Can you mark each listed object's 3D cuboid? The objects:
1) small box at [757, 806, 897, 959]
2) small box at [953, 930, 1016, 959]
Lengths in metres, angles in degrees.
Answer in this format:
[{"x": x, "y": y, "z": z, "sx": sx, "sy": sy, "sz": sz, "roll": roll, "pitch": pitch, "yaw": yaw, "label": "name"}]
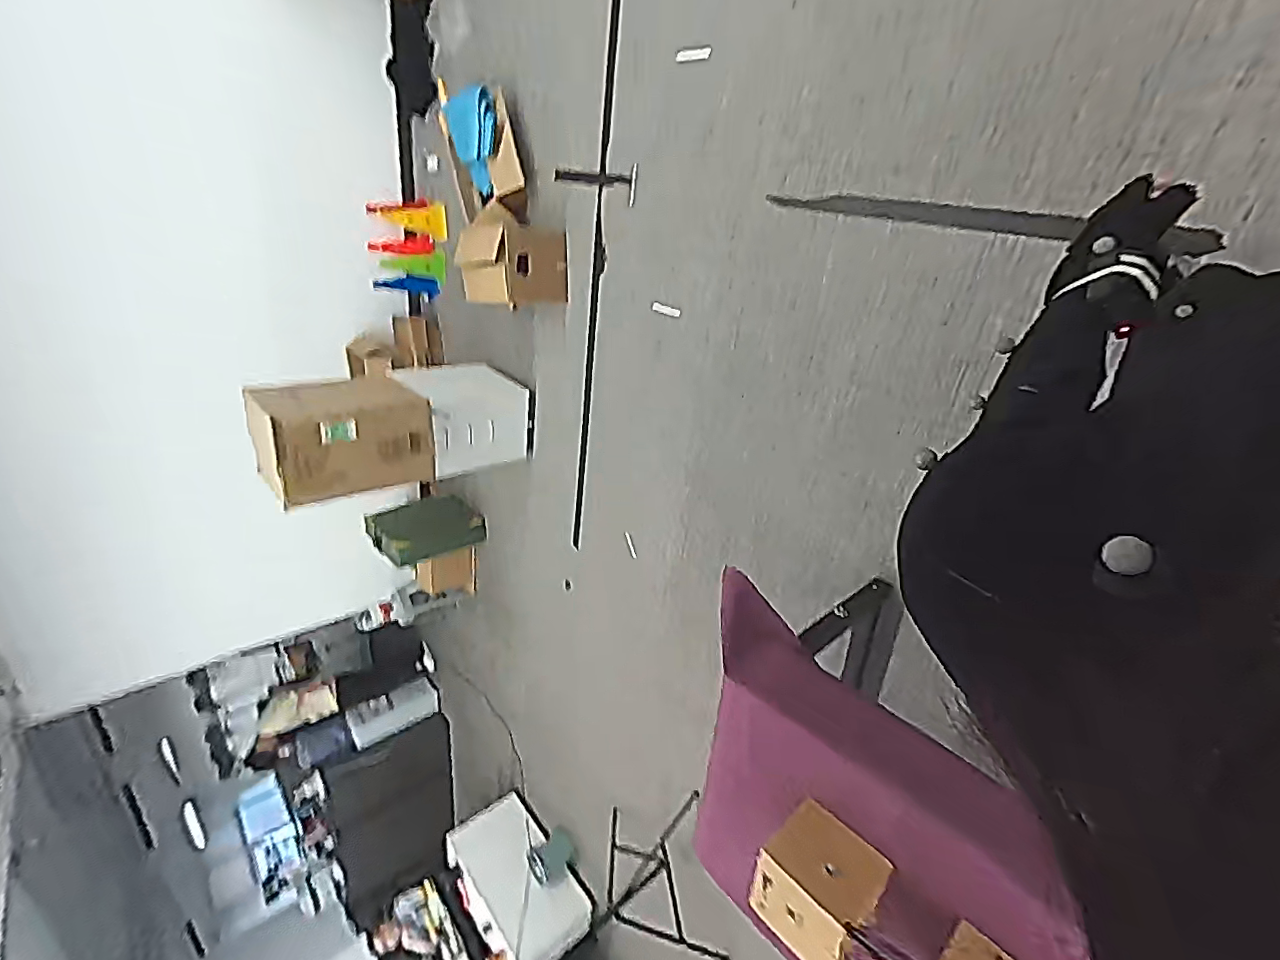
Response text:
[{"x": 0.345, "y": 0.756, "z": 0.998, "sx": 0.179, "sy": 0.176, "sz": 0.168, "roll": 25, "pitch": 121, "yaw": 41, "label": "small box"}, {"x": 0.532, "y": 0.846, "z": 0.808, "sx": 0.168, "sy": 0.176, "sz": 0.179, "roll": 26, "pitch": 121, "yaw": 42, "label": "small box"}]
